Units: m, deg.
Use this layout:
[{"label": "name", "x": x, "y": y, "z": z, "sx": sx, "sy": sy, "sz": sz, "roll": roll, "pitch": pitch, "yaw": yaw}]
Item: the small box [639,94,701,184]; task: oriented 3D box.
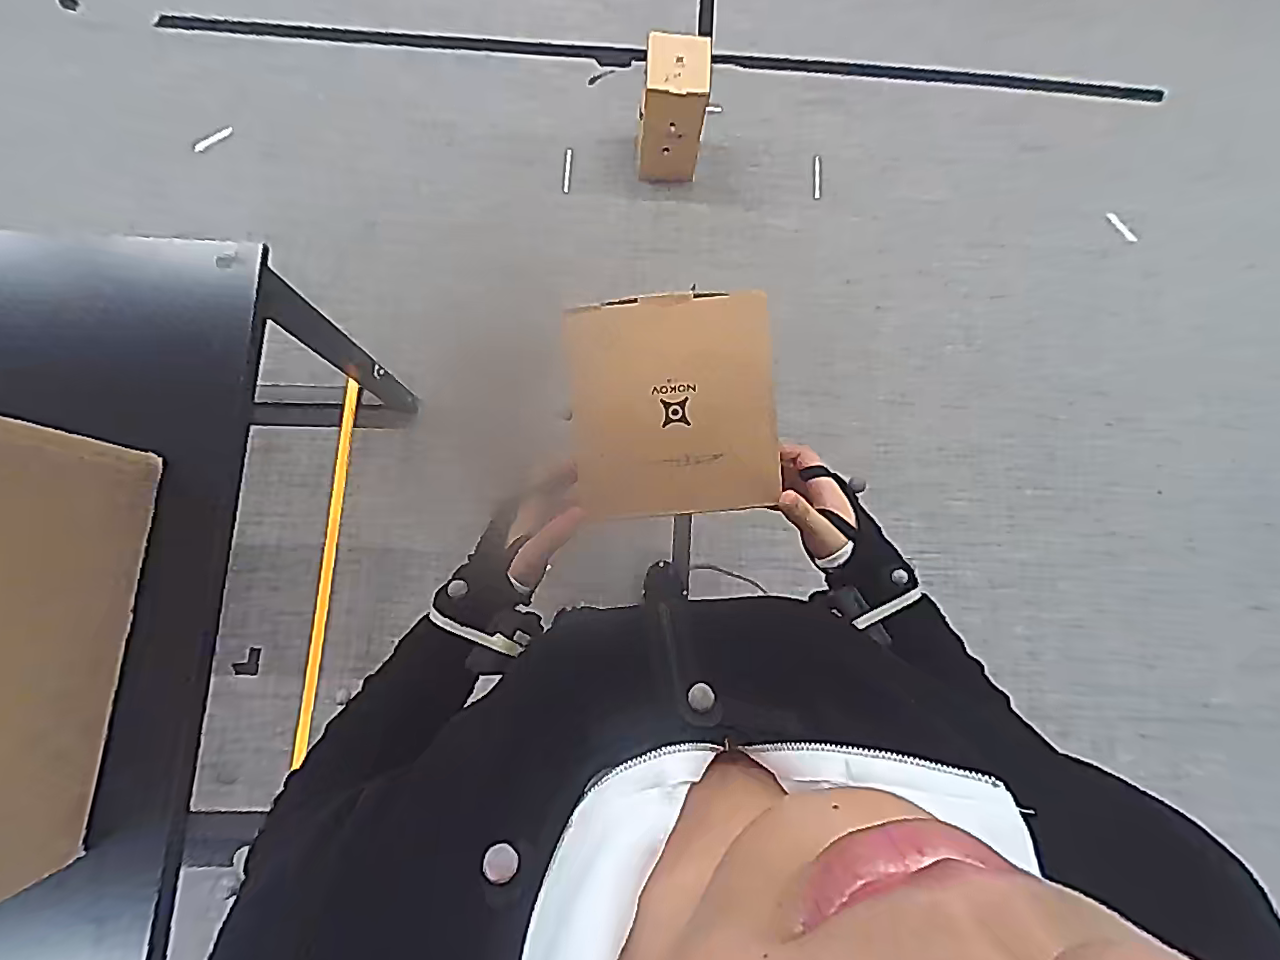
[{"label": "small box", "x": 0.086, "y": -1.030, "z": 1.643, "sx": 0.179, "sy": 0.176, "sz": 0.168, "roll": 0, "pitch": 80, "yaw": -4}]

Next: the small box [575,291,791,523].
[{"label": "small box", "x": 0.032, "y": -0.062, "z": 0.505, "sx": 0.168, "sy": 0.176, "sz": 0.179, "roll": -5, "pitch": 95, "yaw": -1}]

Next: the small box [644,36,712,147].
[{"label": "small box", "x": 0.099, "y": -1.058, "z": 1.481, "sx": 0.168, "sy": 0.176, "sz": 0.179, "roll": 3, "pitch": 80, "yaw": -2}]
